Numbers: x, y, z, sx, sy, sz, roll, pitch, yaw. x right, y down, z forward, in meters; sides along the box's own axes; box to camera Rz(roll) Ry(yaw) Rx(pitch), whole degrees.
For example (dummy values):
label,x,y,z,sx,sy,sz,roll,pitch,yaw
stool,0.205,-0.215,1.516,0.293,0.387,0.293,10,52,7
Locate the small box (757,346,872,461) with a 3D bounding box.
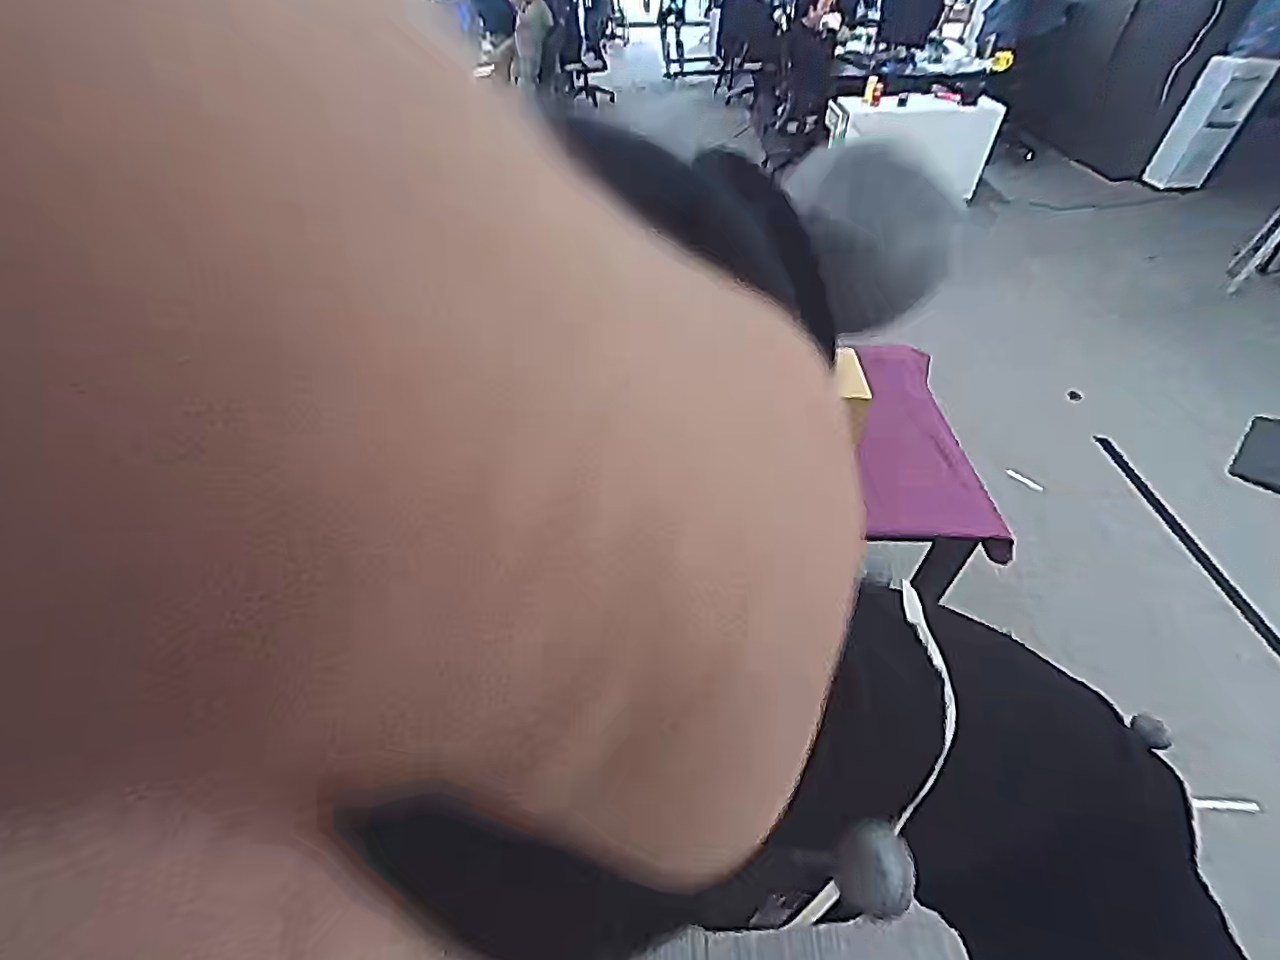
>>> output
label,x,y,z,sx,sy,sz,roll,pitch,yaw
small box,0.341,-0.152,1.093,0.179,0.176,0.168,1,45,4
